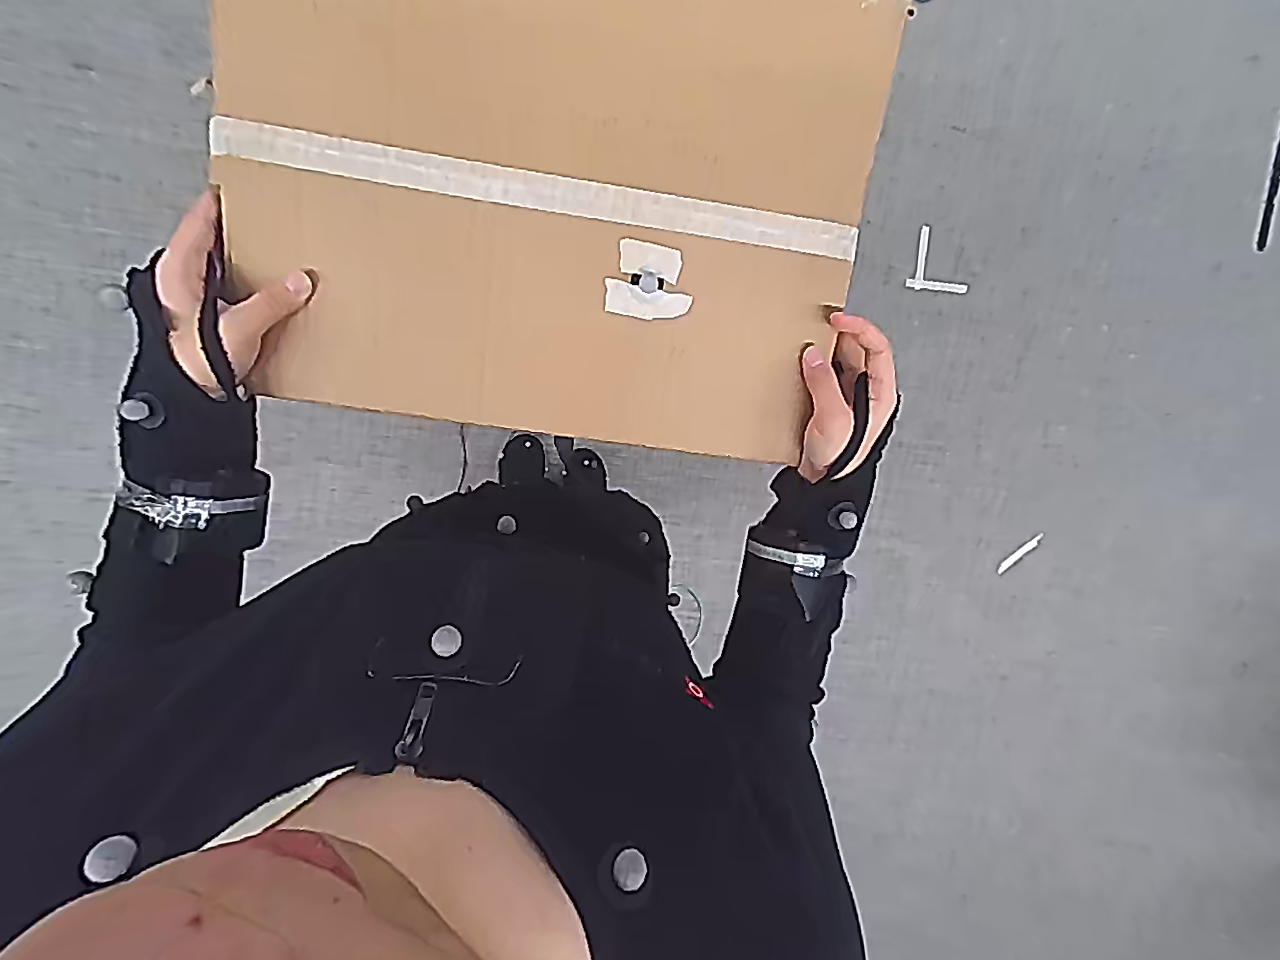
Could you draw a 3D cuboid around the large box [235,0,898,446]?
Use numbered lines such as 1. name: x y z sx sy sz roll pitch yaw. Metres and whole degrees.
1. large box: -0.064 -0.232 0.497 0.408 0.320 0.320 7 106 -6
